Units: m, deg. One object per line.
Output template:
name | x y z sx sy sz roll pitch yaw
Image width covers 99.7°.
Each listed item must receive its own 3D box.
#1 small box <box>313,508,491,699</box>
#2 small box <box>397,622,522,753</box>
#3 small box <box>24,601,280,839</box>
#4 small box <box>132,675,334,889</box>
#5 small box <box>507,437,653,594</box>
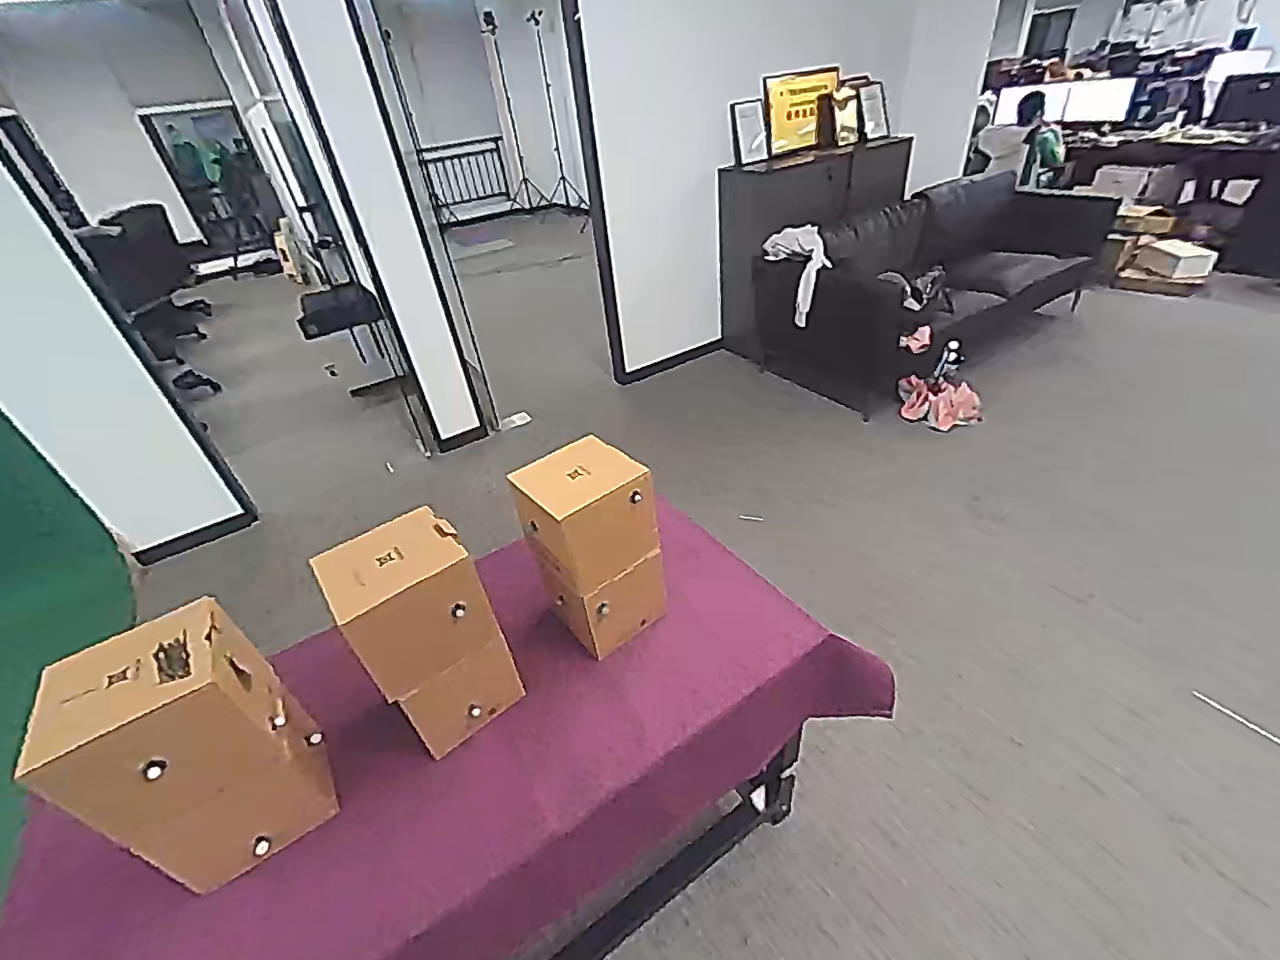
small box | -0.338 0.177 0.795 0.179 0.176 0.168 -30 41 -26
small box | -0.320 0.305 0.895 0.168 0.176 0.179 -31 43 -28
small box | -0.581 0.294 0.676 0.179 0.176 0.168 -27 41 -24
small box | -0.564 0.426 0.773 0.179 0.176 0.168 -27 40 -24
small box | -0.094 0.058 0.912 0.179 0.176 0.168 -30 41 -28
